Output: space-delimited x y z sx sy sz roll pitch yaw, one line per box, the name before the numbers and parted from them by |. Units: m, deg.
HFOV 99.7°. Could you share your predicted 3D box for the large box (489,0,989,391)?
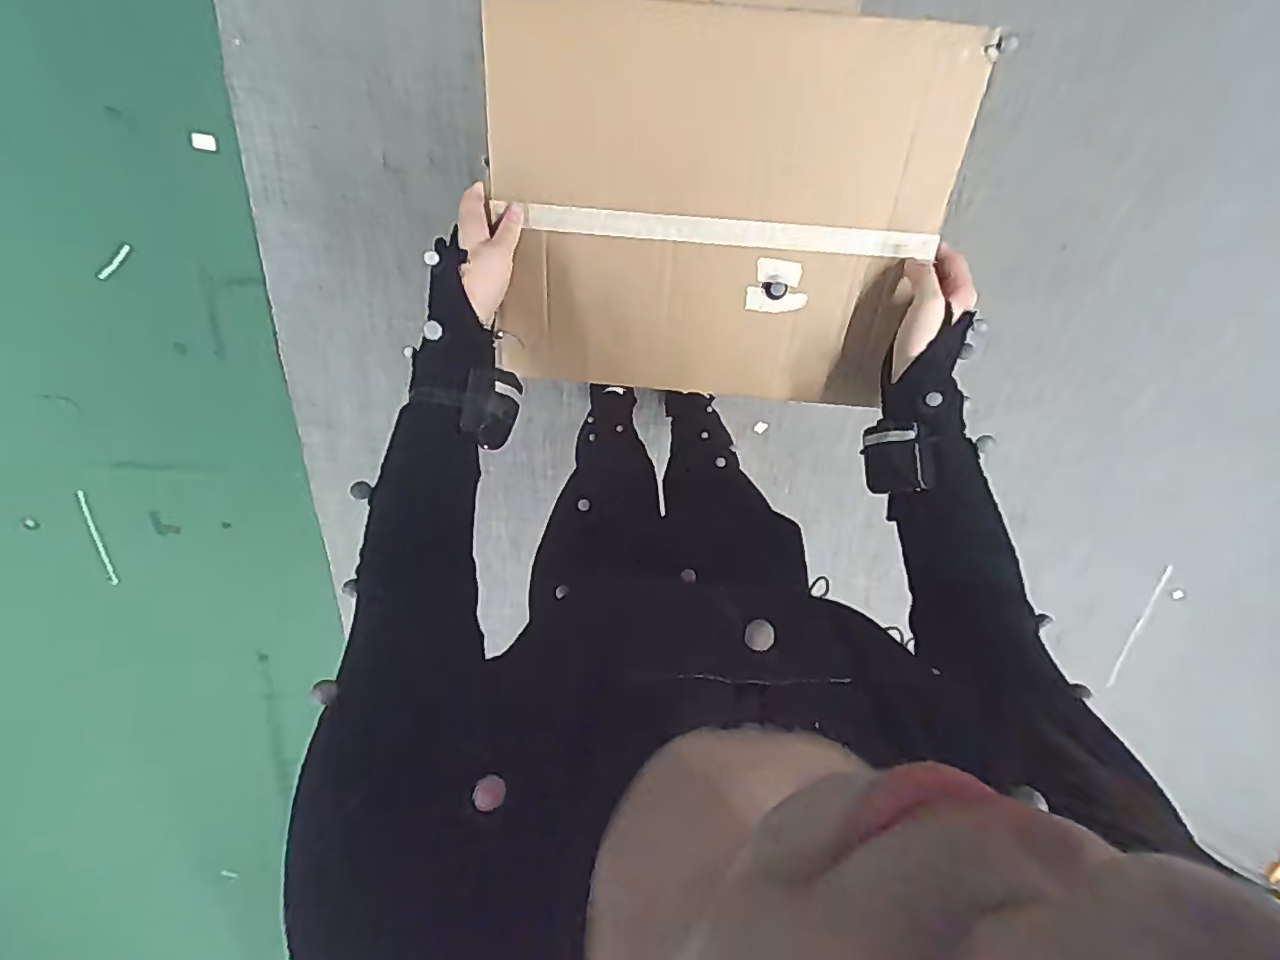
large box | 0.073 -0.308 0.625 0.408 0.320 0.320 4 119 0
